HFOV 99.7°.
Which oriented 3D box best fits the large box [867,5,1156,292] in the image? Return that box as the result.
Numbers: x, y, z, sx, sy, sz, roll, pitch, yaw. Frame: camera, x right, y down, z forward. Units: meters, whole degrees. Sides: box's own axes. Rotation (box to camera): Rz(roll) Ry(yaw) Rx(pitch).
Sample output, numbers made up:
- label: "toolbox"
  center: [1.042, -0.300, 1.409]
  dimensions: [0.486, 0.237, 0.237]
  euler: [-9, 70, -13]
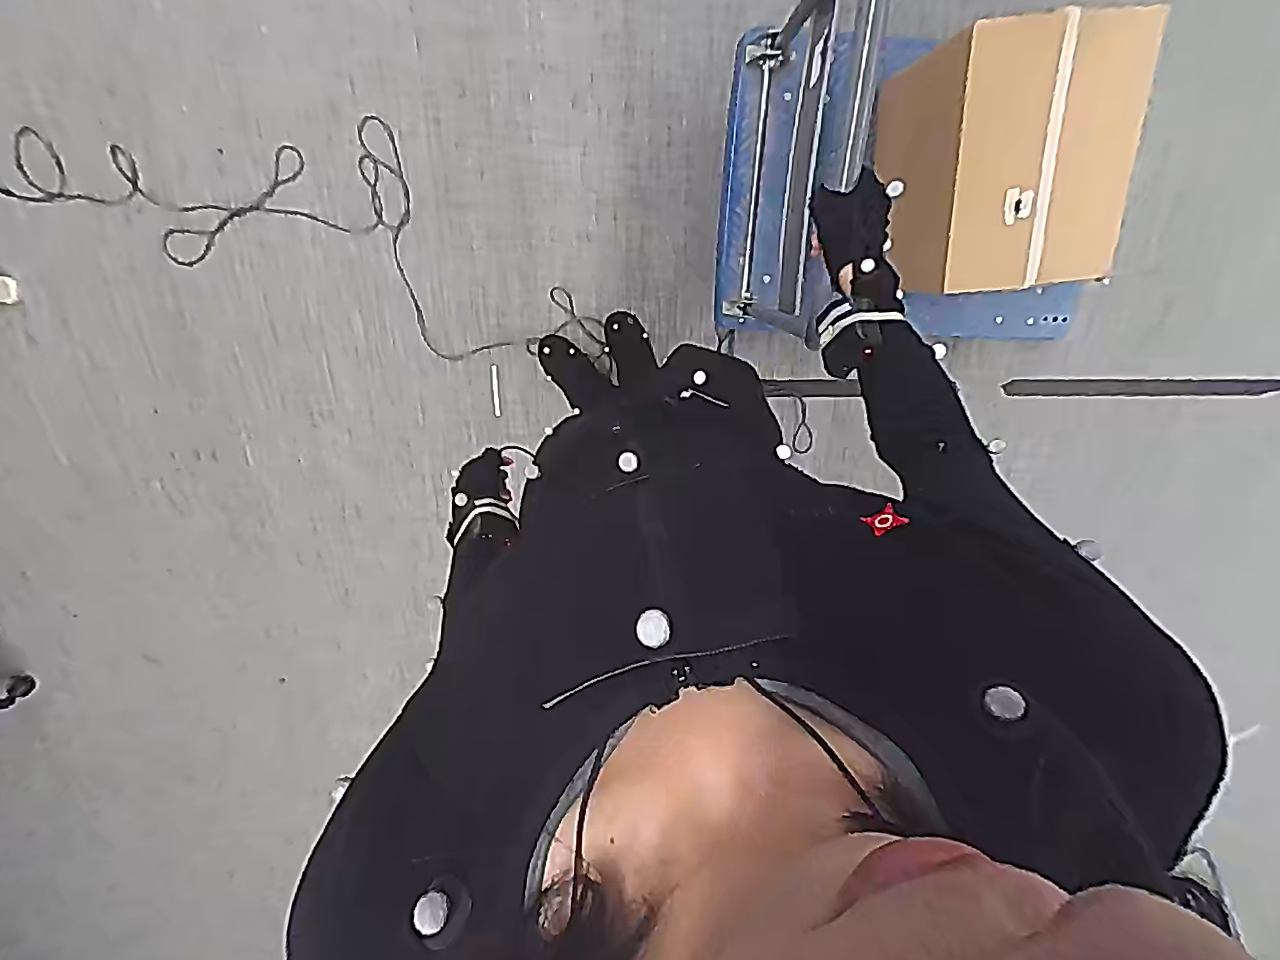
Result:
- label: "large box"
  center: [0.666, -0.596, 1.047]
  dimensions: [0.320, 0.320, 0.408]
  euler: [-6, 112, -2]
